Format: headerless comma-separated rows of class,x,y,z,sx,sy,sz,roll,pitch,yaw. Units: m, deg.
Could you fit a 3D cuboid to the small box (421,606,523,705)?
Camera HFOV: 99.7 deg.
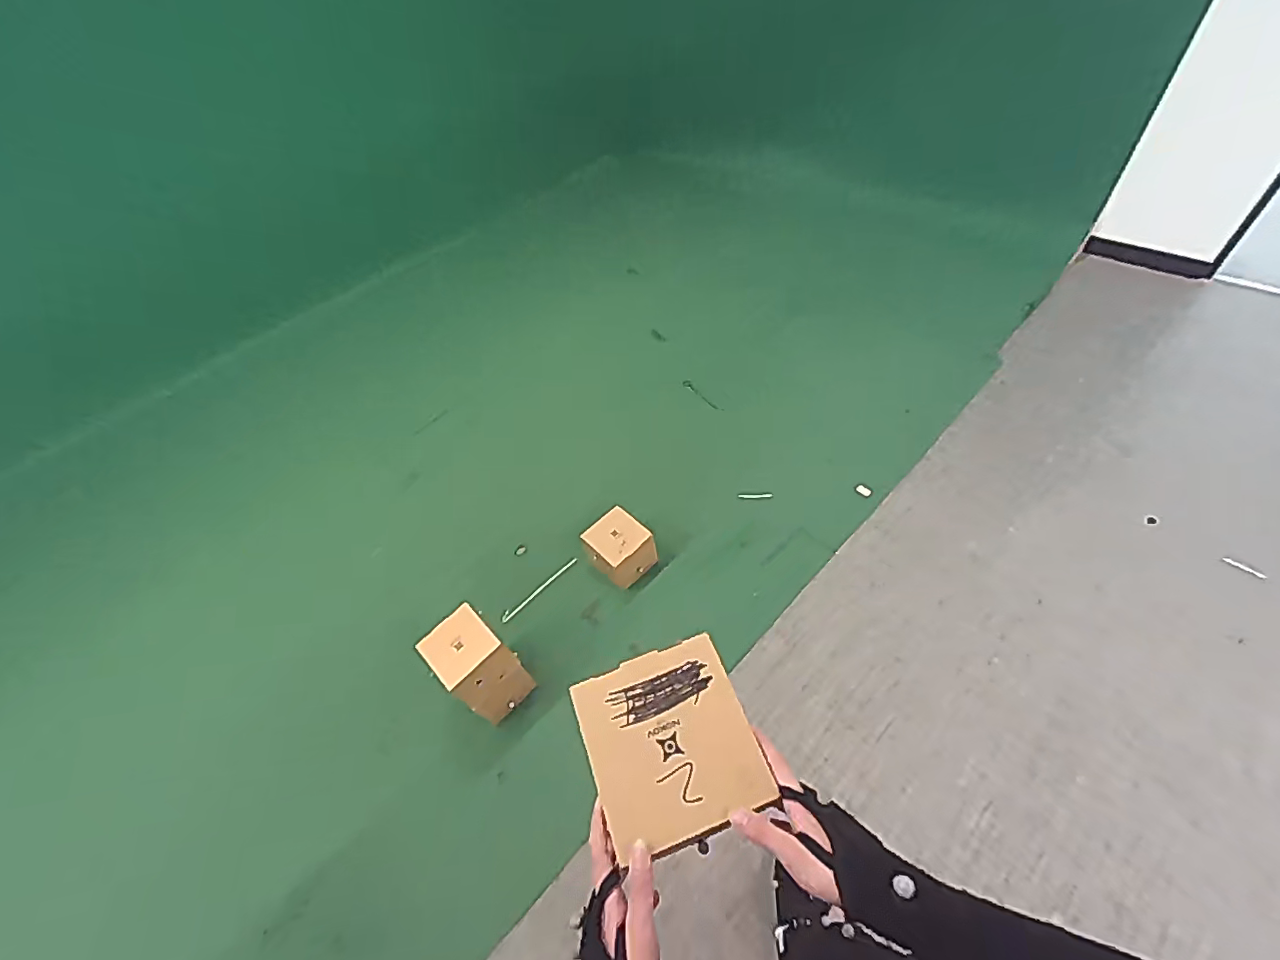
small box,-0.445,0.481,1.457,0.179,0.176,0.168,34,65,32

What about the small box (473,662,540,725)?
small box,-0.423,0.582,1.581,0.168,0.176,0.179,-42,57,-21

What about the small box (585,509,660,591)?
small box,-0.053,0.235,1.789,0.168,0.176,0.179,-39,56,-20
